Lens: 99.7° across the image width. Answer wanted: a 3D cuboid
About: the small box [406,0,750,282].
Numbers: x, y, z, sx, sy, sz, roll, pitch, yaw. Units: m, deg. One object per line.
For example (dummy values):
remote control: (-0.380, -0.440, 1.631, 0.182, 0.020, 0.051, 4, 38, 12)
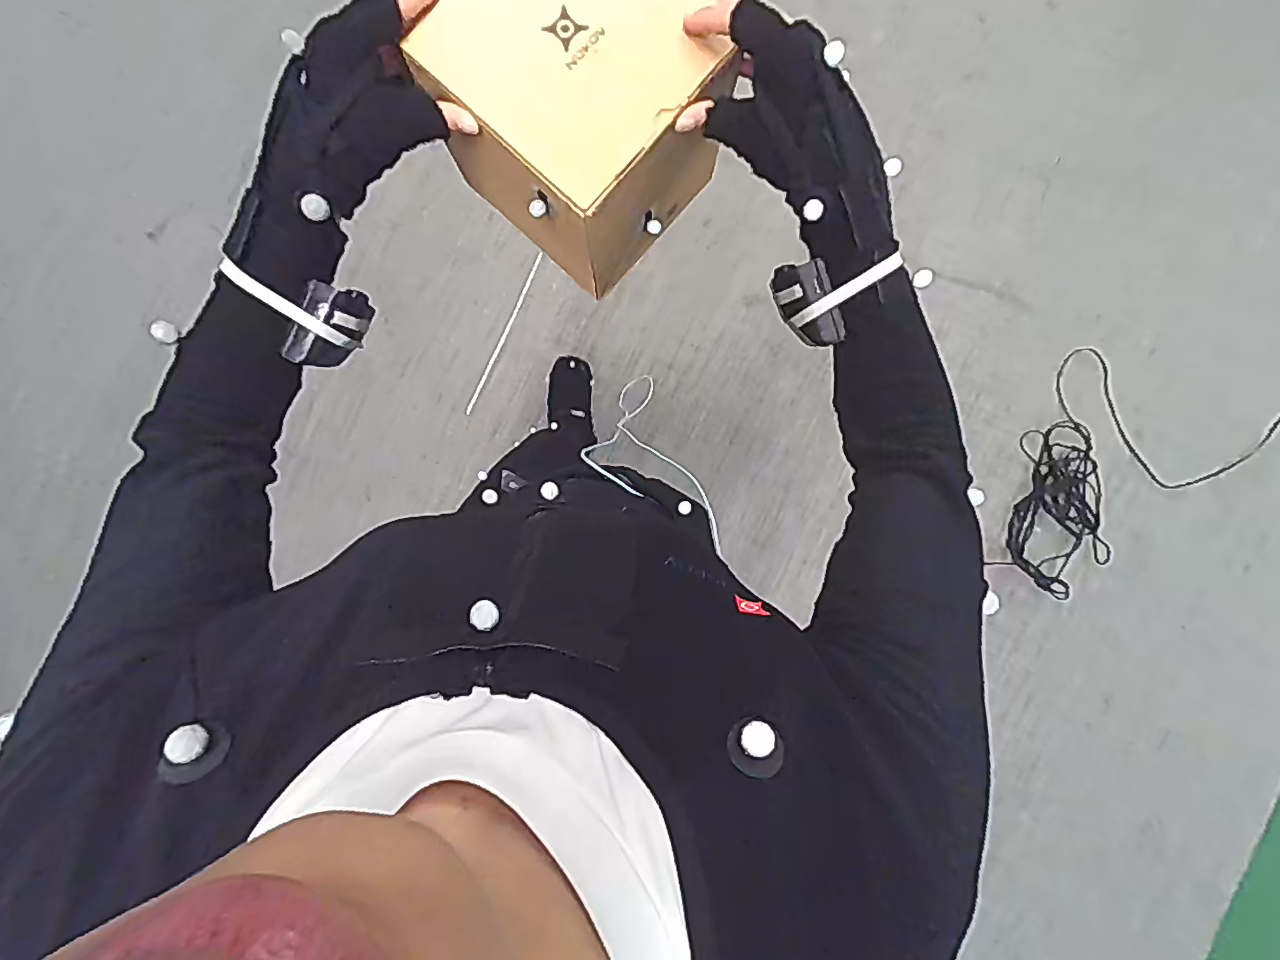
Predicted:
small box: (-0.045, -0.299, 0.444, 0.179, 0.176, 0.168, 43, 88, -2)
